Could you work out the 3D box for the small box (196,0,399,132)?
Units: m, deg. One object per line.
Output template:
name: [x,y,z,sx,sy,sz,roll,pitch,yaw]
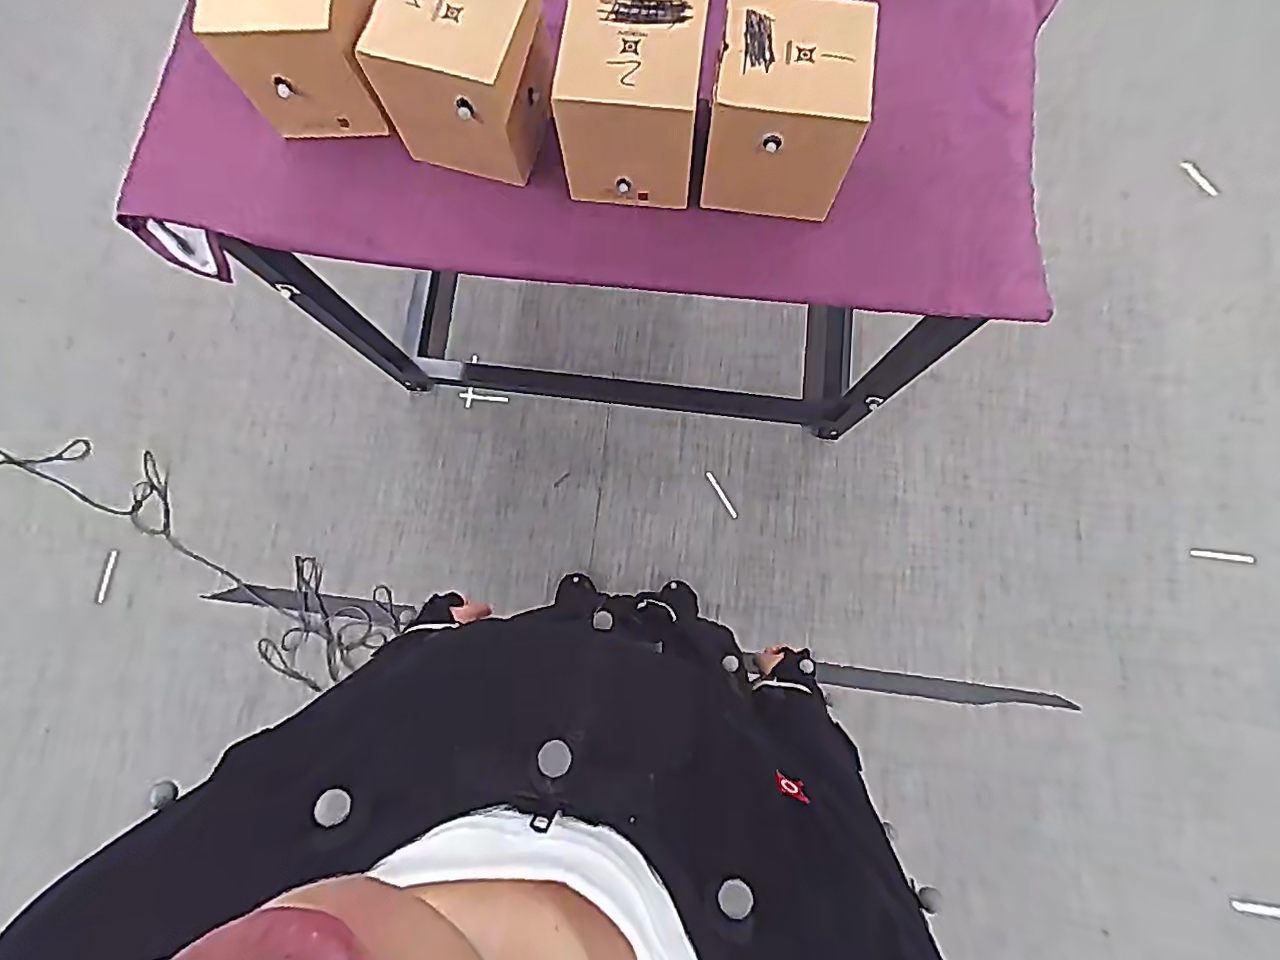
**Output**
small box: [-0.446,-0.604,0.732,0.168,0.176,0.179,-1,80,1]
